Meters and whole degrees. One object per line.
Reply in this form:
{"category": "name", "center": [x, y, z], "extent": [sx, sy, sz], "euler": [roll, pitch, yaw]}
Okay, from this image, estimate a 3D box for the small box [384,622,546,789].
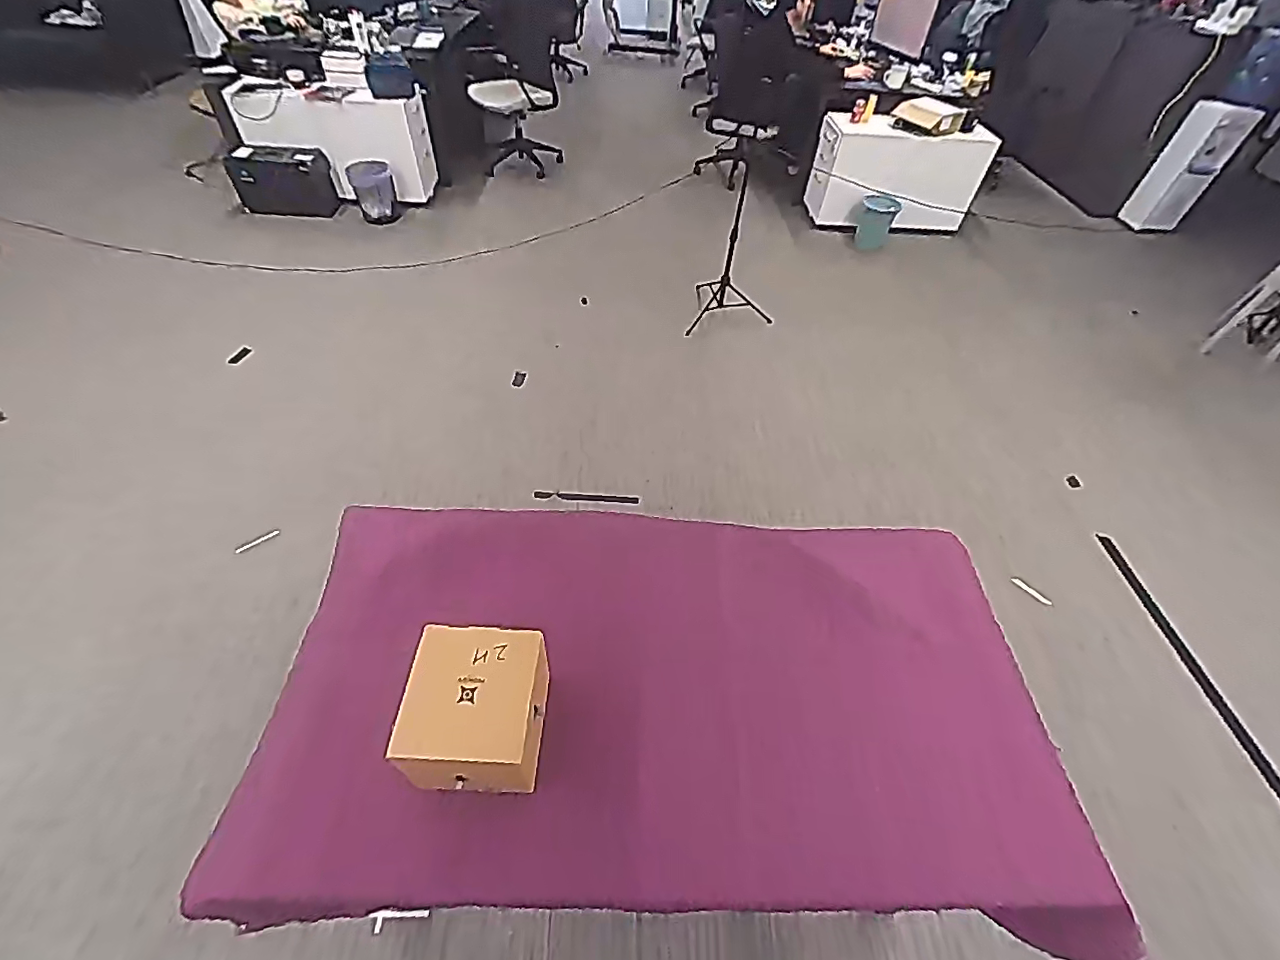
{"category": "small box", "center": [-0.229, 0.323, 0.766], "extent": [0.168, 0.176, 0.179], "euler": [4, 49, -2]}
